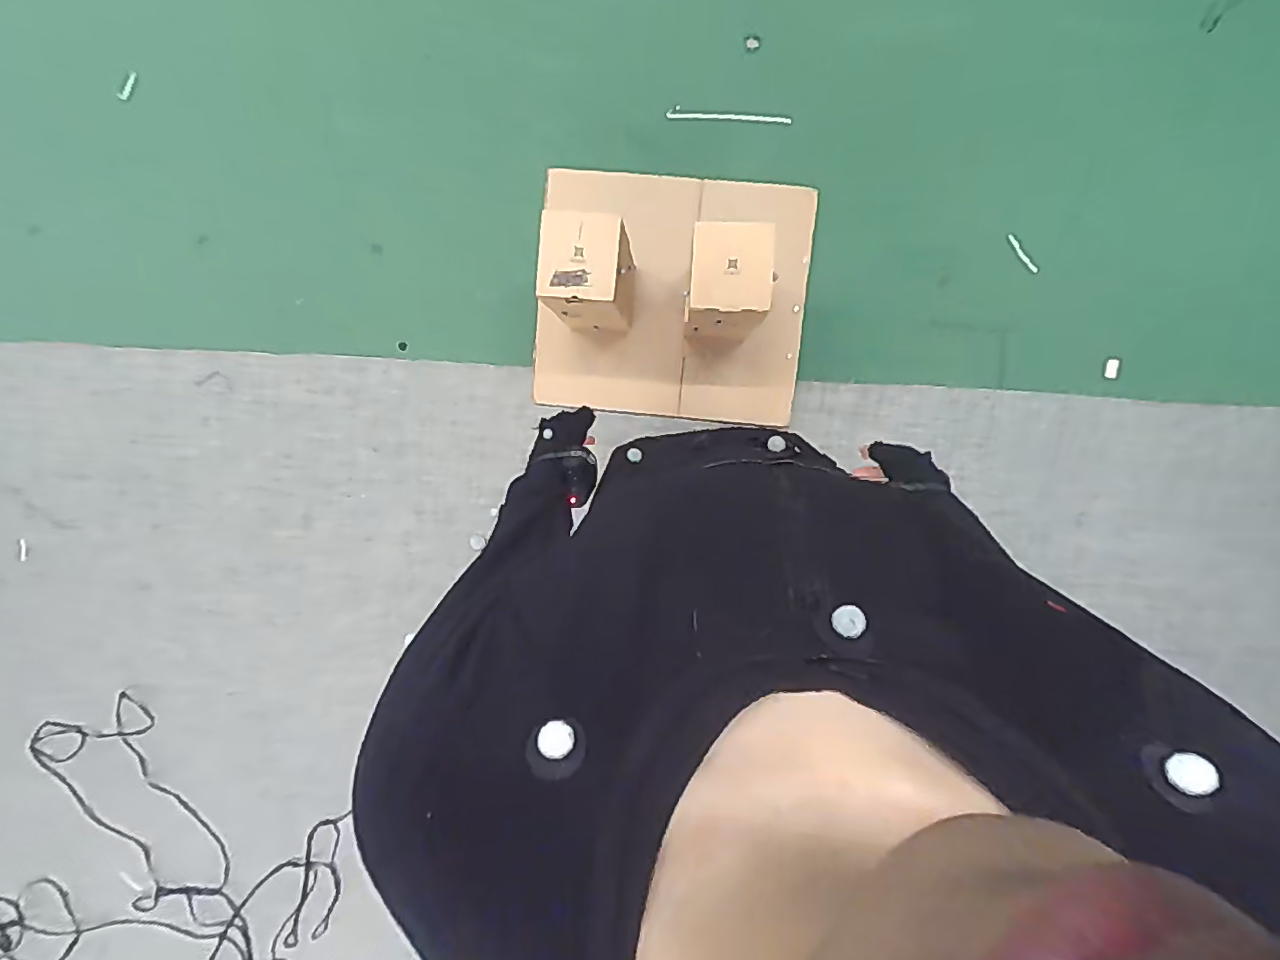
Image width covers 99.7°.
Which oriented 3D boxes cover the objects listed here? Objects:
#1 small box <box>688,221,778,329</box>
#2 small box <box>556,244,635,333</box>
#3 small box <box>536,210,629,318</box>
[{"bbox_3d":[0.192,-0.433,1.161,0.168,0.176,0.179,3,95,3],"label":"small box"},{"bbox_3d":[-0.104,-0.473,1.338,0.168,0.176,0.179,5,96,5],"label":"small box"},{"bbox_3d":[-0.117,-0.459,1.174,0.168,0.176,0.179,6,95,4],"label":"small box"}]
